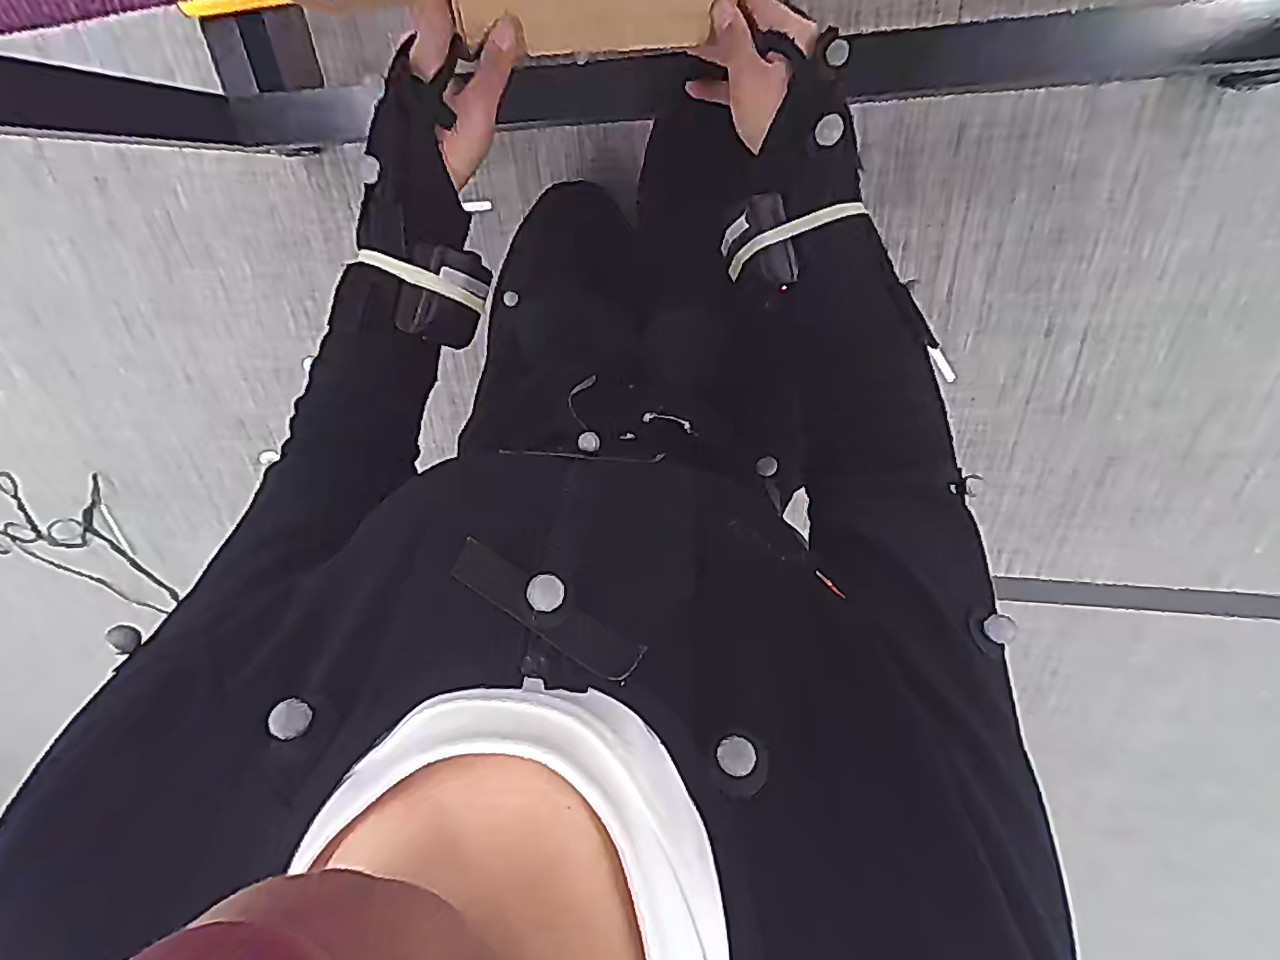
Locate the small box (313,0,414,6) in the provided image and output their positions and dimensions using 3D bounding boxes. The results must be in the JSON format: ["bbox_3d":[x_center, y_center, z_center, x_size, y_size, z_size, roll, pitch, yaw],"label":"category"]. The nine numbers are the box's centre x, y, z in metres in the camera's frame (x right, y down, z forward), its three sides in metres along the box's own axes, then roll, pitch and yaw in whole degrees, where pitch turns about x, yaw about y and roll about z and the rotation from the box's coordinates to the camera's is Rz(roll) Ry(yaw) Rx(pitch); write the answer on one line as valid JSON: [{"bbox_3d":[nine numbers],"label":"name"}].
[{"bbox_3d":[-0.267,-0.535,0.460,0.179,0.176,0.168,1,120,9],"label":"small box"}]
